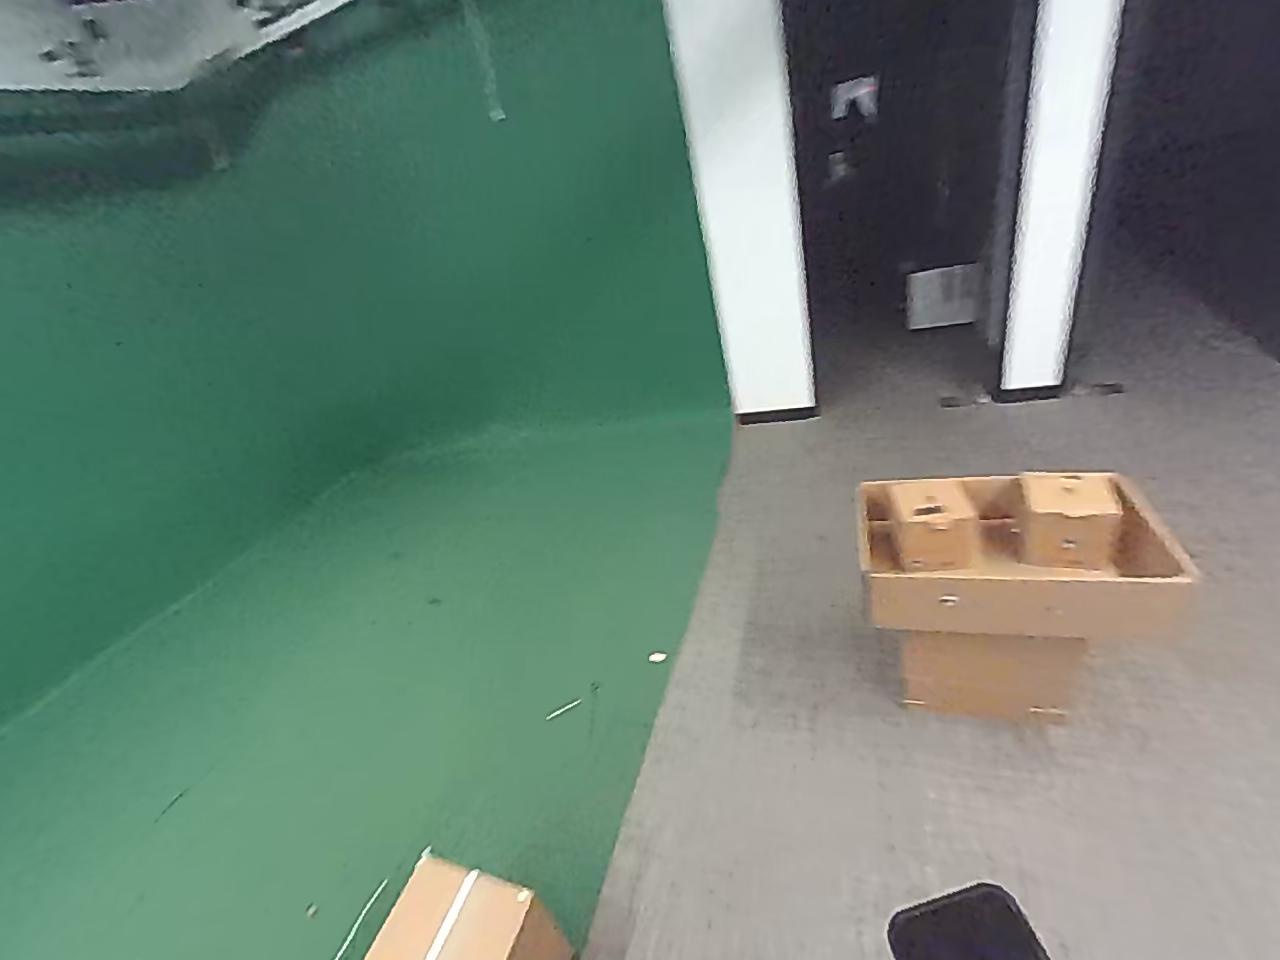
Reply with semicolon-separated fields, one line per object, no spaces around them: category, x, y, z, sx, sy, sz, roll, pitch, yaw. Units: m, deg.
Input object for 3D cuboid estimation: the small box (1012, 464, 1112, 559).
small box;1.040;0.078;1.345;0.168;0.176;0.179;1;36;27
